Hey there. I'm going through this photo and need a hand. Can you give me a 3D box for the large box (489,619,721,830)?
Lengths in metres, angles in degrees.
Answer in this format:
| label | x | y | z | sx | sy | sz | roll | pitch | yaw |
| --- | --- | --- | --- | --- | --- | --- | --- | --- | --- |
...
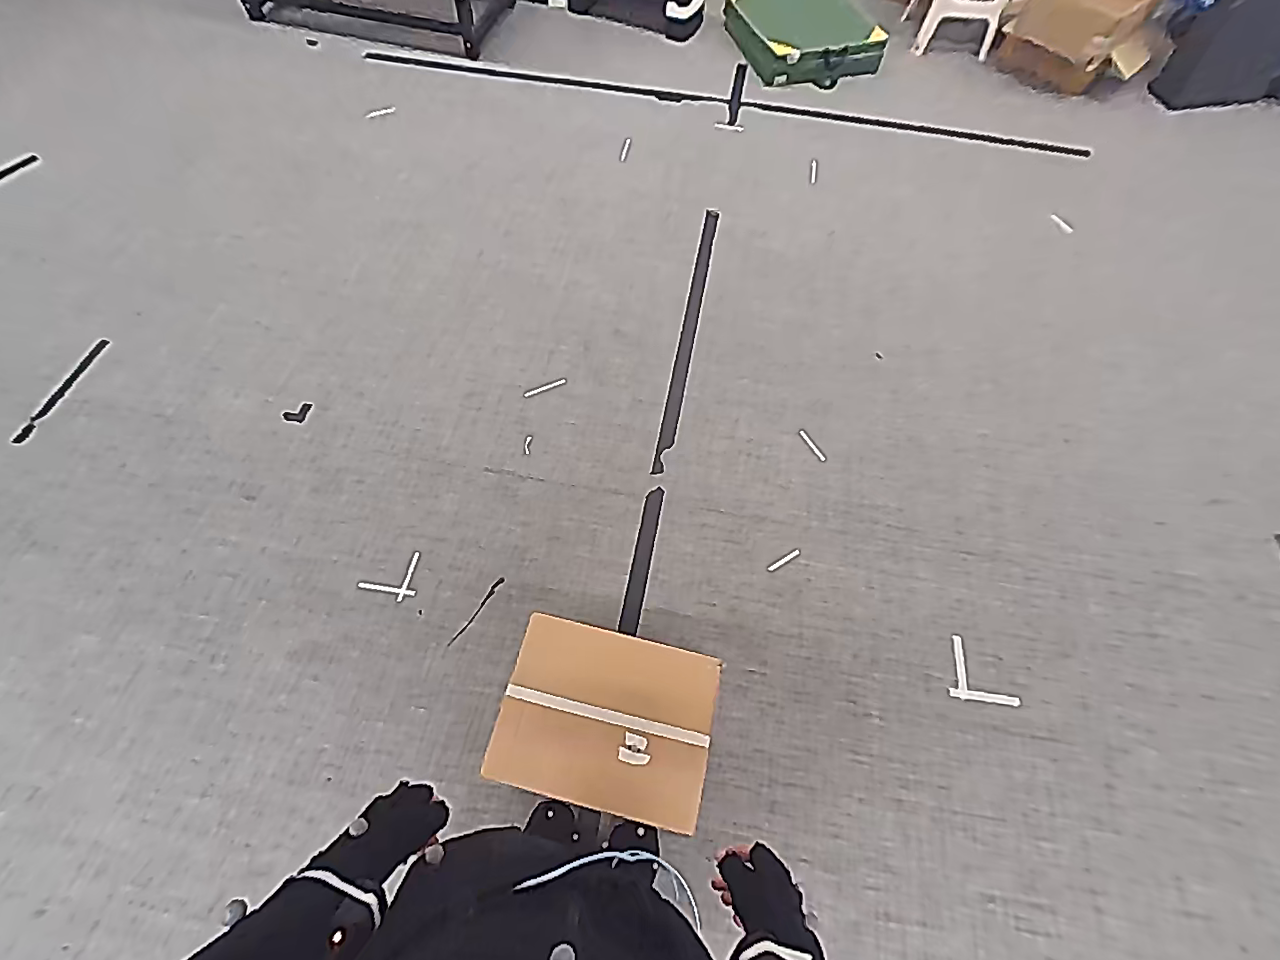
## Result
| label | x | y | z | sx | sy | sz | roll | pitch | yaw |
| --- | --- | --- | --- | --- | --- | --- | --- | --- | --- |
| large box | -0.068 | 0.531 | 1.190 | 0.408 | 0.320 | 0.320 | 13 | 64 | 3 |
